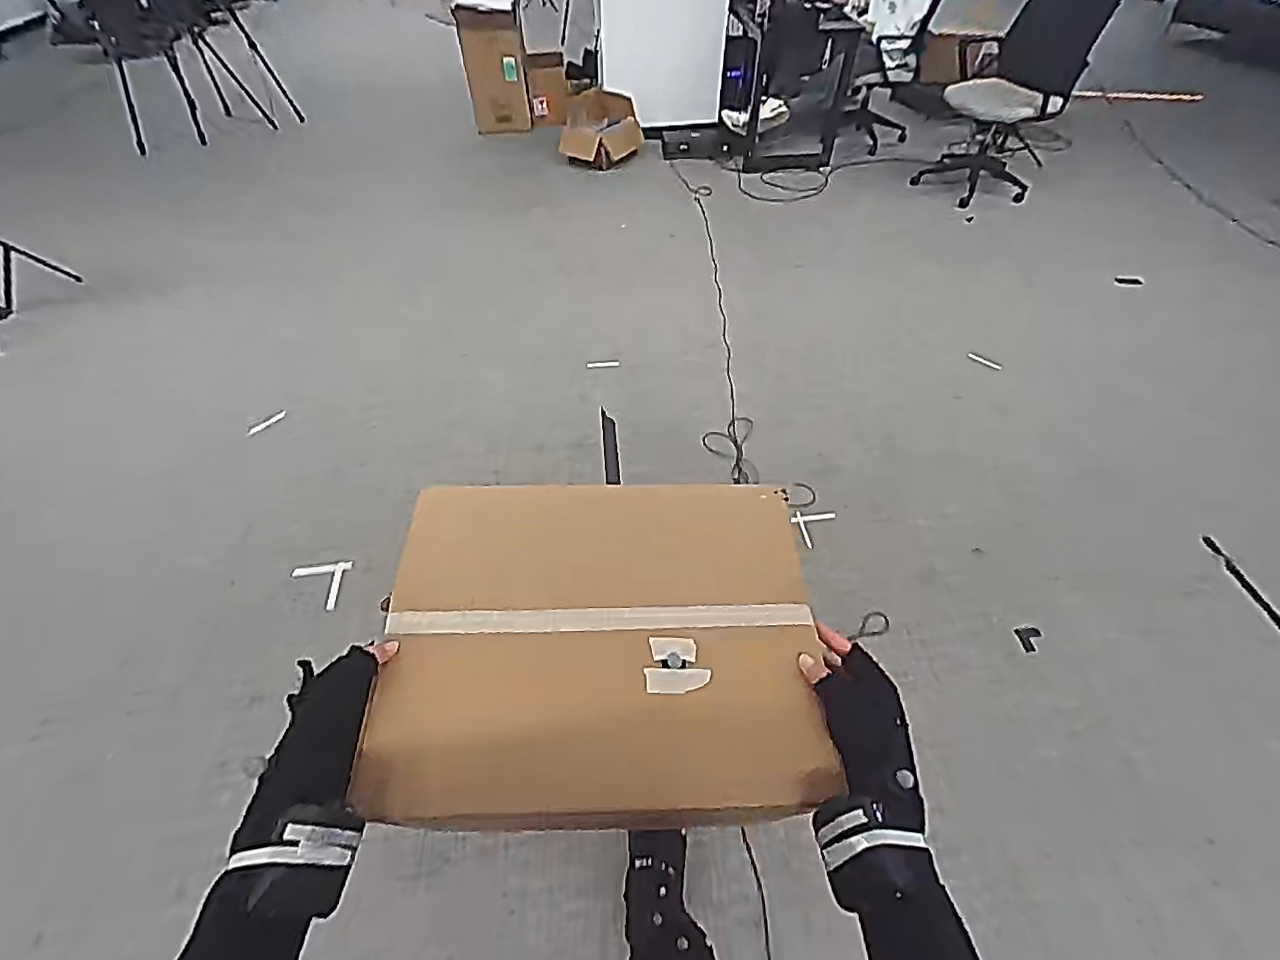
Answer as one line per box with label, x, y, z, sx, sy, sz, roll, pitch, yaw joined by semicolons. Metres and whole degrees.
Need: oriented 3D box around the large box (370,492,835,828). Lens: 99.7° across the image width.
large box;-0.040;0.227;0.661;0.408;0.320;0.320;0;56;-3
